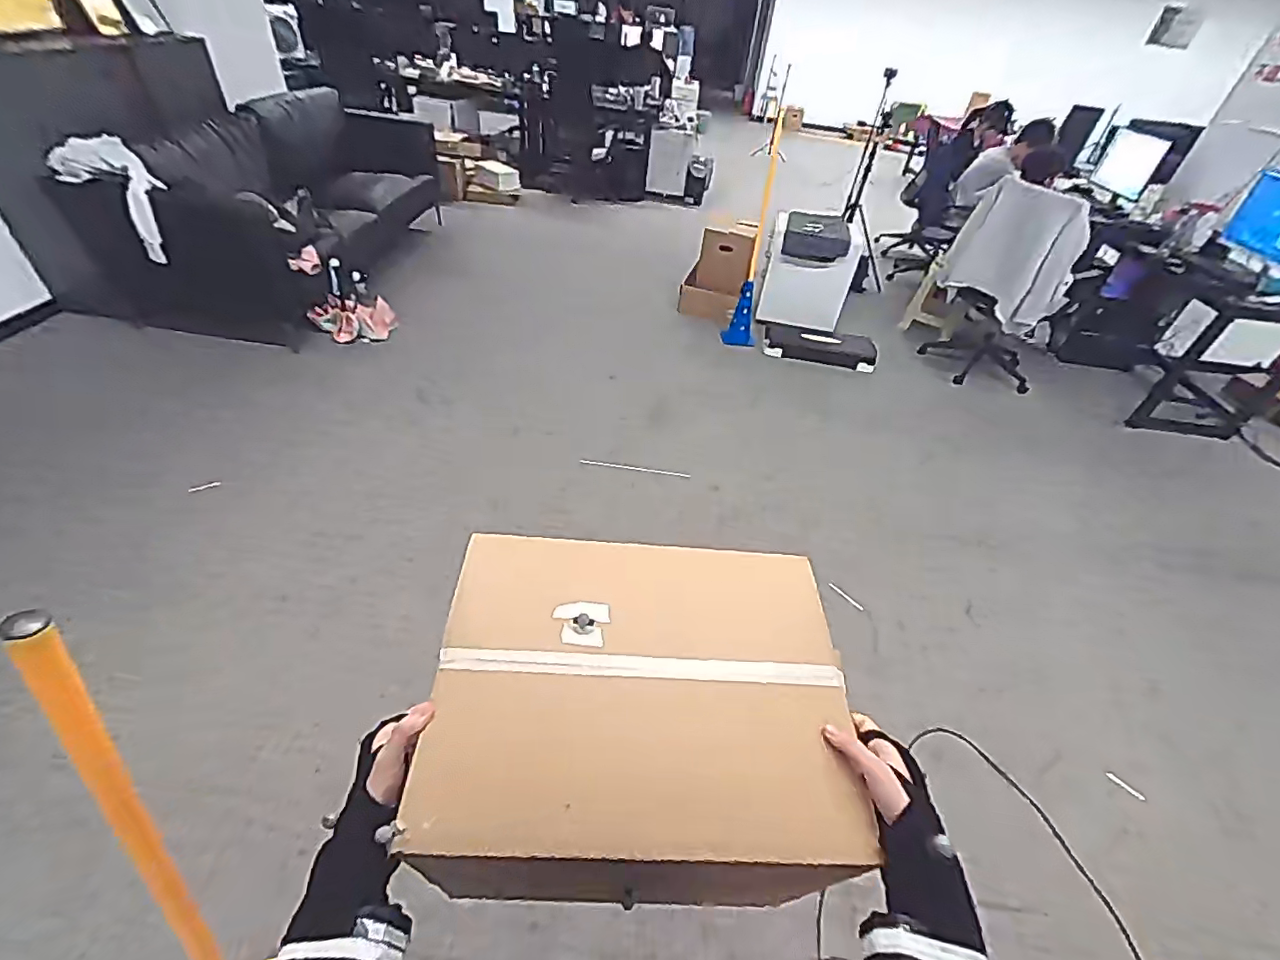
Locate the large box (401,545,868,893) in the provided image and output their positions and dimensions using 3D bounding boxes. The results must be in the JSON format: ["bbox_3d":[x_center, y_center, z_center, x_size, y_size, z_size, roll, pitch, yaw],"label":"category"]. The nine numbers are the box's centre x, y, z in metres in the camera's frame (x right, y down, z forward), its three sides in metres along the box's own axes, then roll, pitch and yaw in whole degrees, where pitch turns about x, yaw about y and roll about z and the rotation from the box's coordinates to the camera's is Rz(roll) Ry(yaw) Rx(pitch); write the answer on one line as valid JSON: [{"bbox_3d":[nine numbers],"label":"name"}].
[{"bbox_3d":[-0.011,0.300,0.661,0.408,0.320,0.320,4,46,-4],"label":"large box"}]
